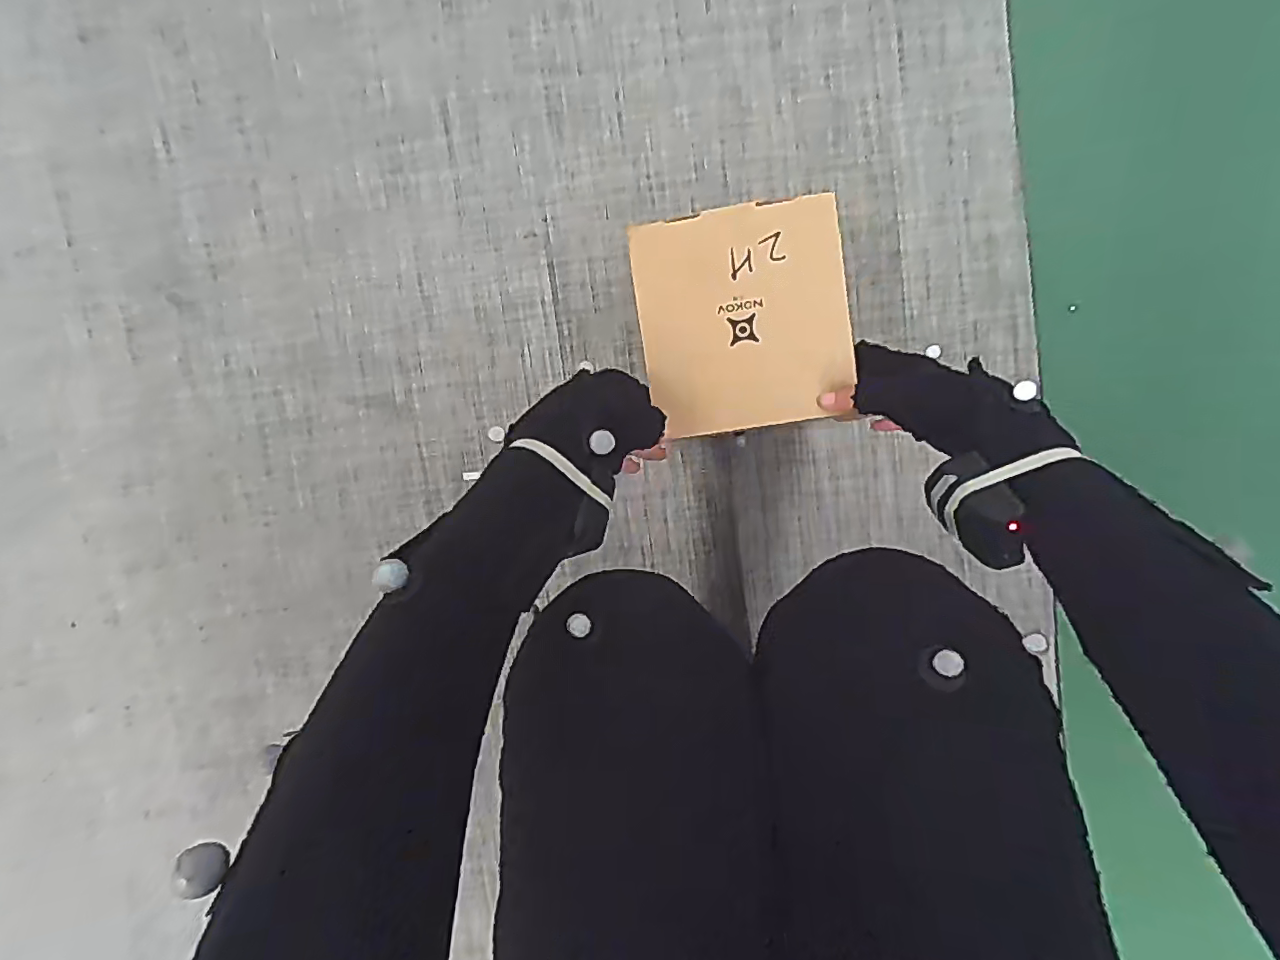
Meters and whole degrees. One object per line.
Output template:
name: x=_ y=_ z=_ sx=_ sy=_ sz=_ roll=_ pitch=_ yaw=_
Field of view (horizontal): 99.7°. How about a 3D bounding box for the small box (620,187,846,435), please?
small box: x=0.080 y=-0.138 z=0.509 sx=0.168 sy=0.176 sz=0.179 roll=-7 pitch=93 yaw=4
